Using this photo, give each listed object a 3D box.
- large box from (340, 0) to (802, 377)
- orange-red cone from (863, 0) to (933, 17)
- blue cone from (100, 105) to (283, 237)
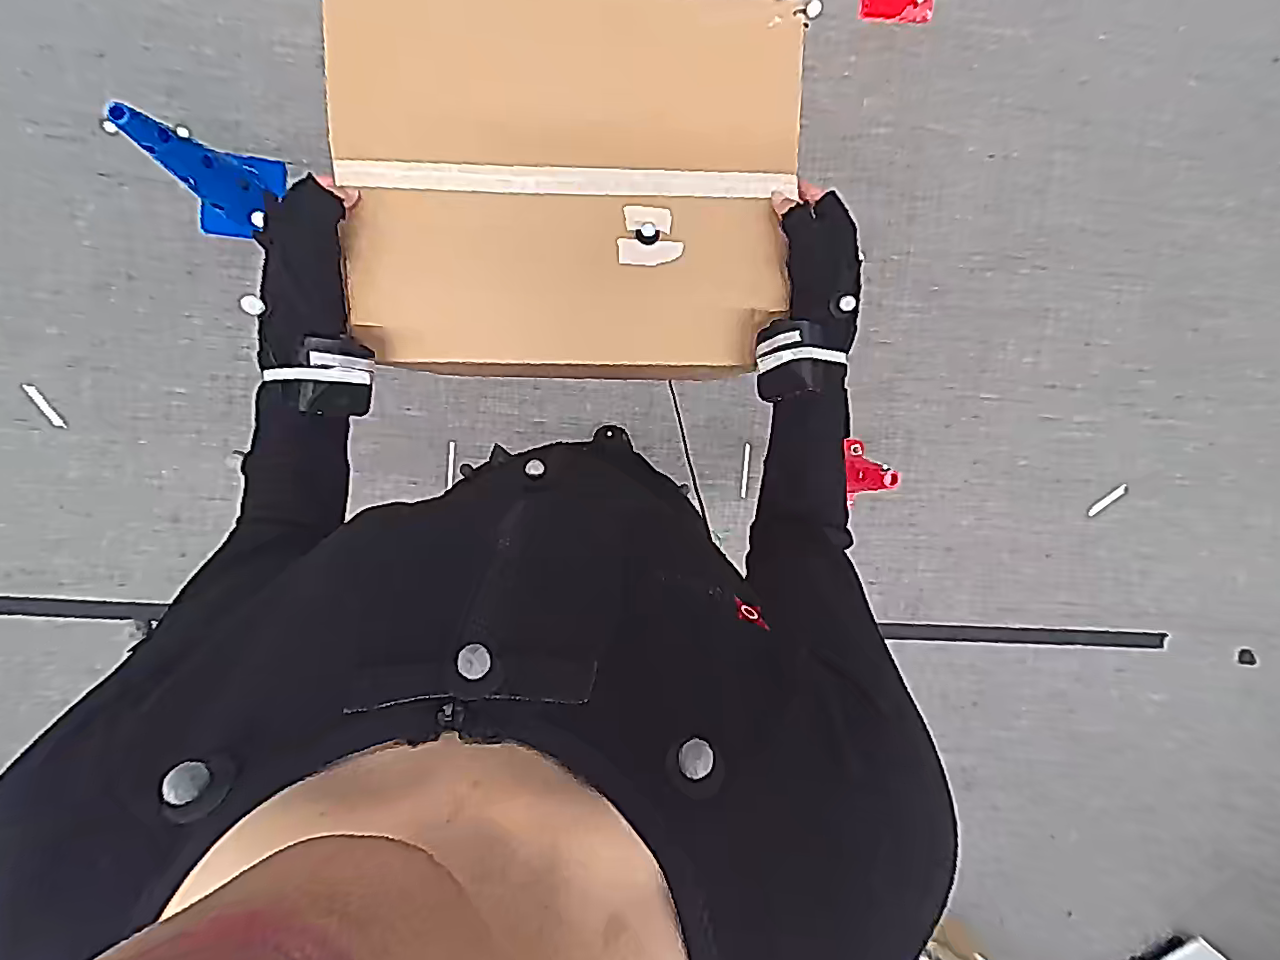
[{"bbox_3d":[-0.066,-0.287,0.631,0.408,0.320,0.320,0,99,-5],"label":"large box"},{"bbox_3d":[0.692,-1.309,1.240,0.198,0.360,0.199,1,94,-5],"label":"orange-red cone"},{"bbox_3d":[-0.990,-0.700,1.195,0.192,0.380,0.193,7,94,-3],"label":"blue cone"}]
